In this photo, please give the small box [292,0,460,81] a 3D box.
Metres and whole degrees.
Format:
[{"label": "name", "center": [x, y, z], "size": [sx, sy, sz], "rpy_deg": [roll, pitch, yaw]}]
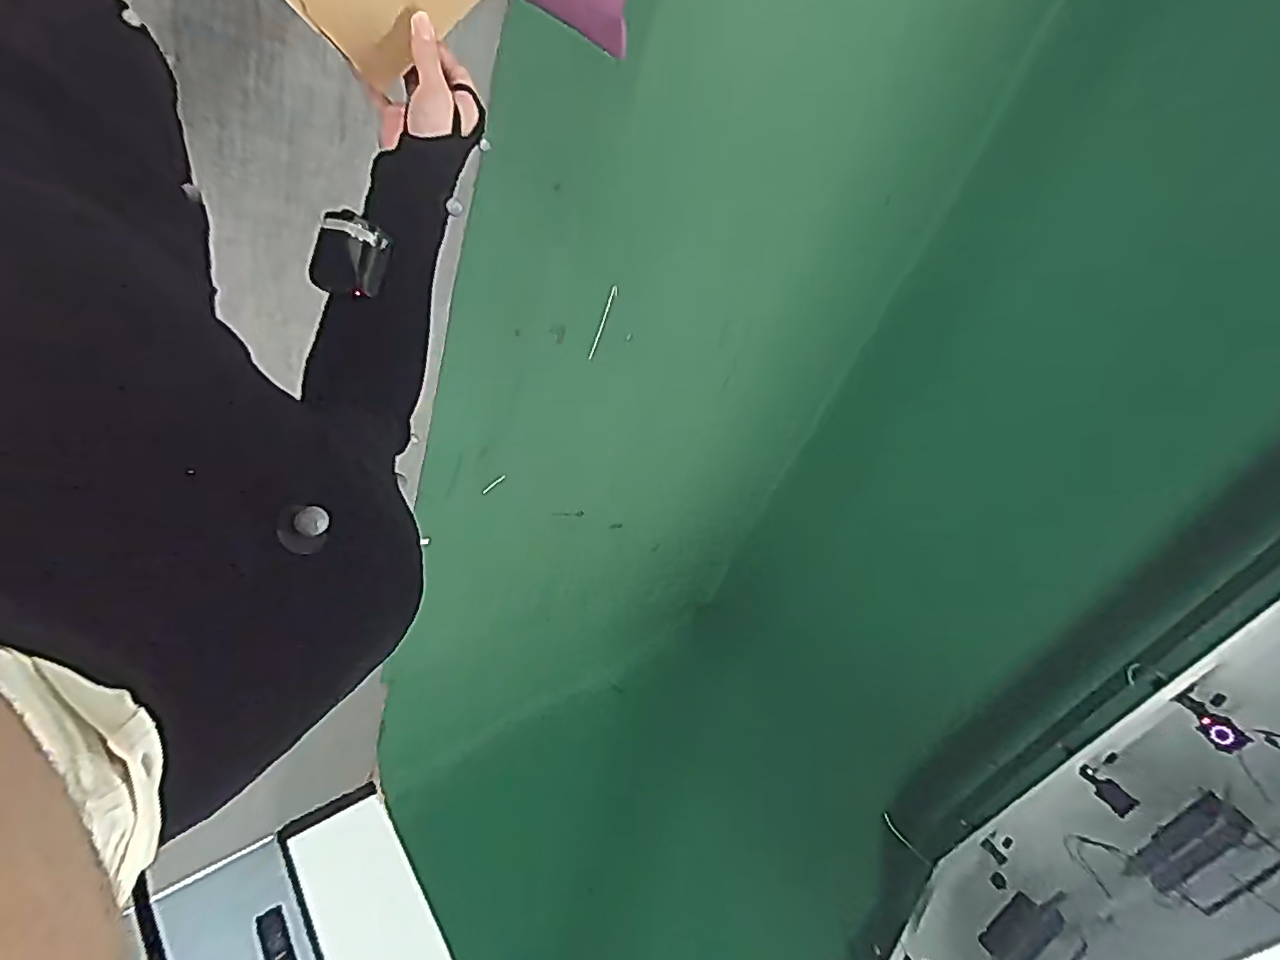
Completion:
[{"label": "small box", "center": [-0.236, -0.487, 0.433], "size": [0.179, 0.176, 0.168], "rpy_deg": [-34, 153, 12]}]
